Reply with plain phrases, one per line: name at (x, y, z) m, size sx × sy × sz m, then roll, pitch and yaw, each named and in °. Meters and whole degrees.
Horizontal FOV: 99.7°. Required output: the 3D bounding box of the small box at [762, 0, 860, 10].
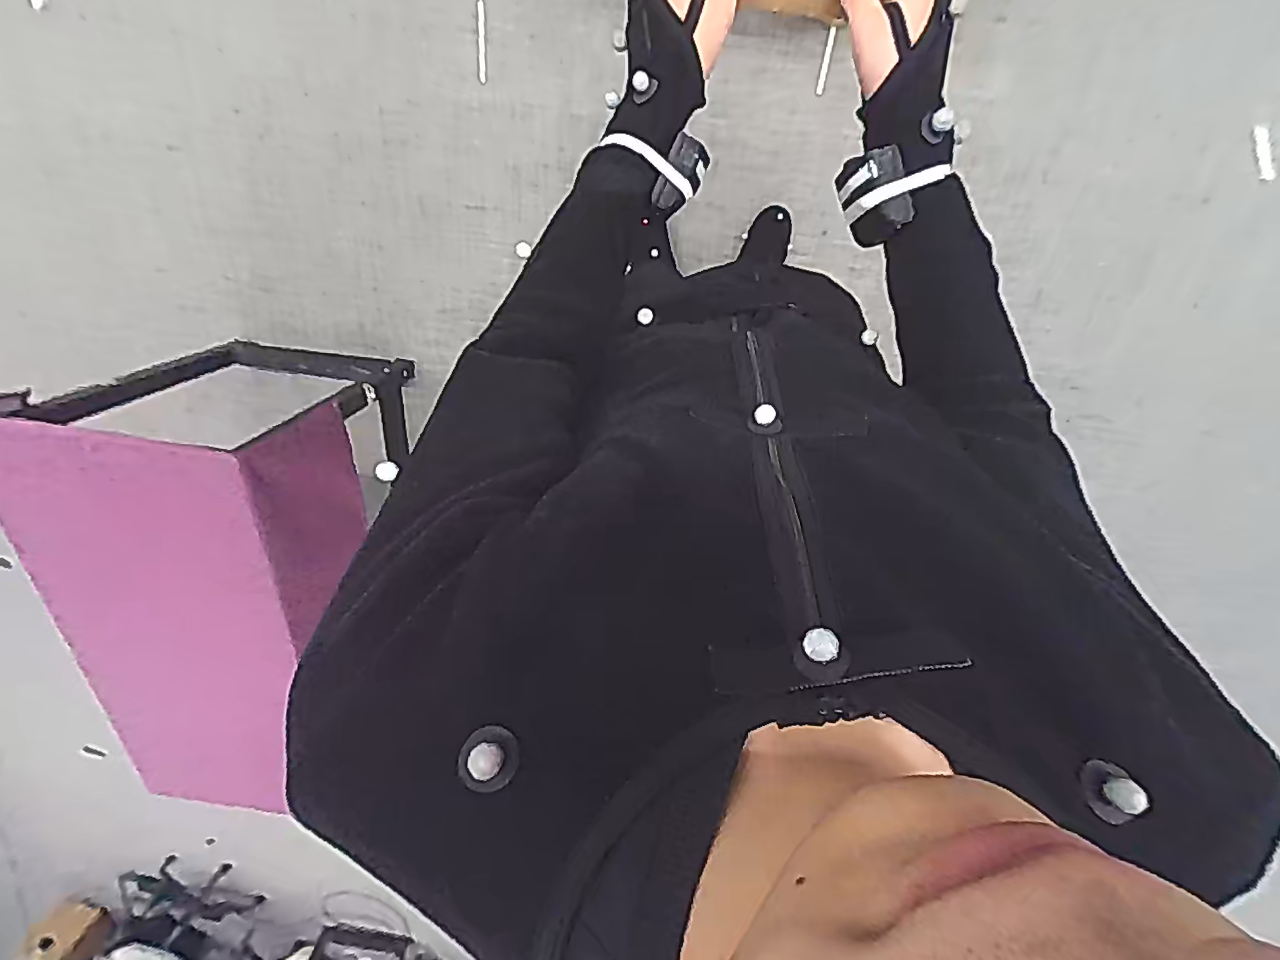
small box at (0.125, -0.484, 0.410) m, size 0.168 × 0.176 × 0.179 m, roll 5°, pitch 126°, yaw -1°
